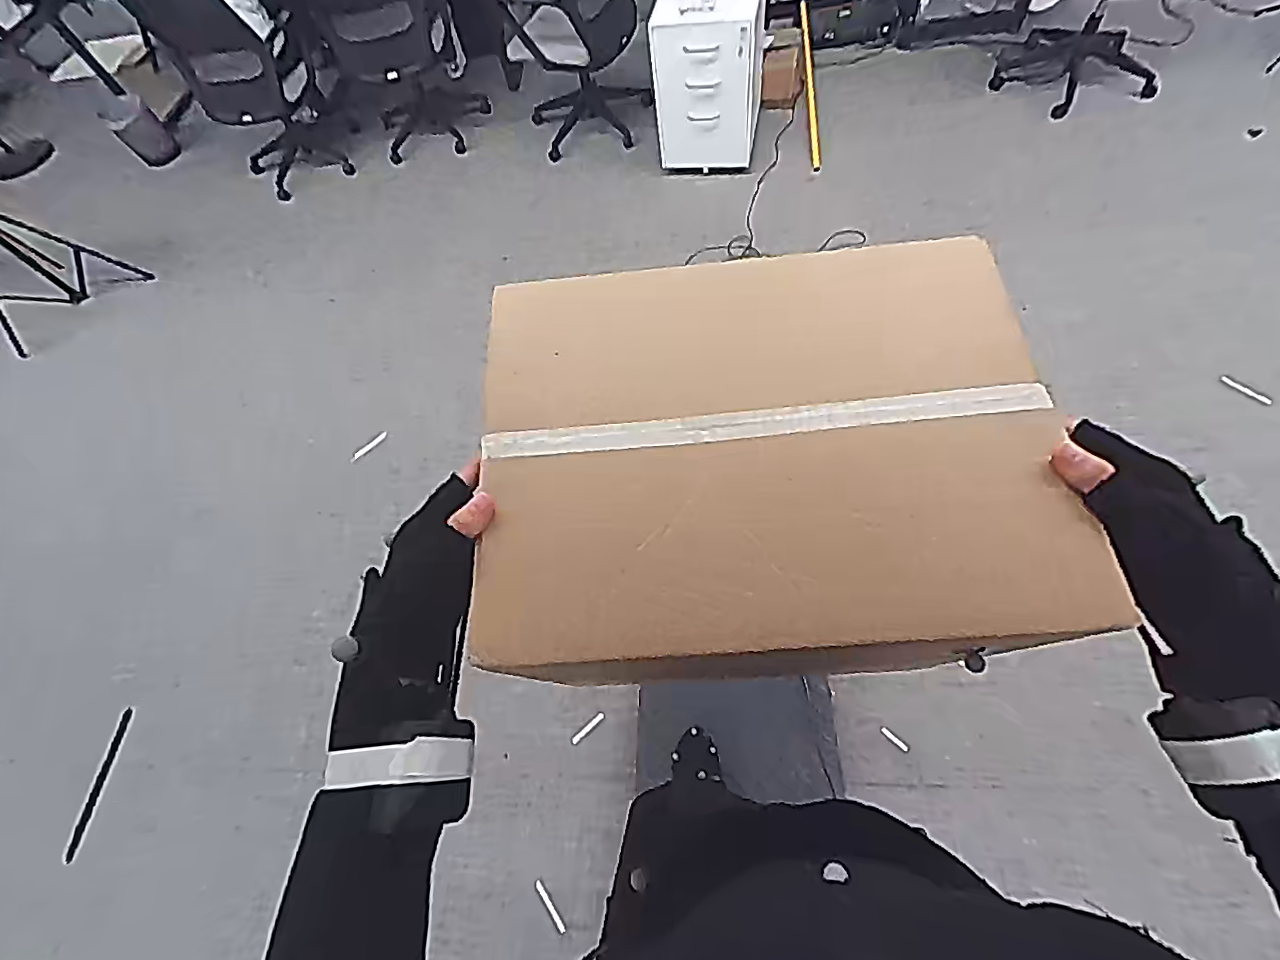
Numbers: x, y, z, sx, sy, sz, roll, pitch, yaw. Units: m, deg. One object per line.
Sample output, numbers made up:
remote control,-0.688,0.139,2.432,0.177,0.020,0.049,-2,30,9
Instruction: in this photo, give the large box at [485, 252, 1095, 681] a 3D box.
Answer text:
large box,0.098,0.023,0.545,0.408,0.320,0.320,-5,66,4
